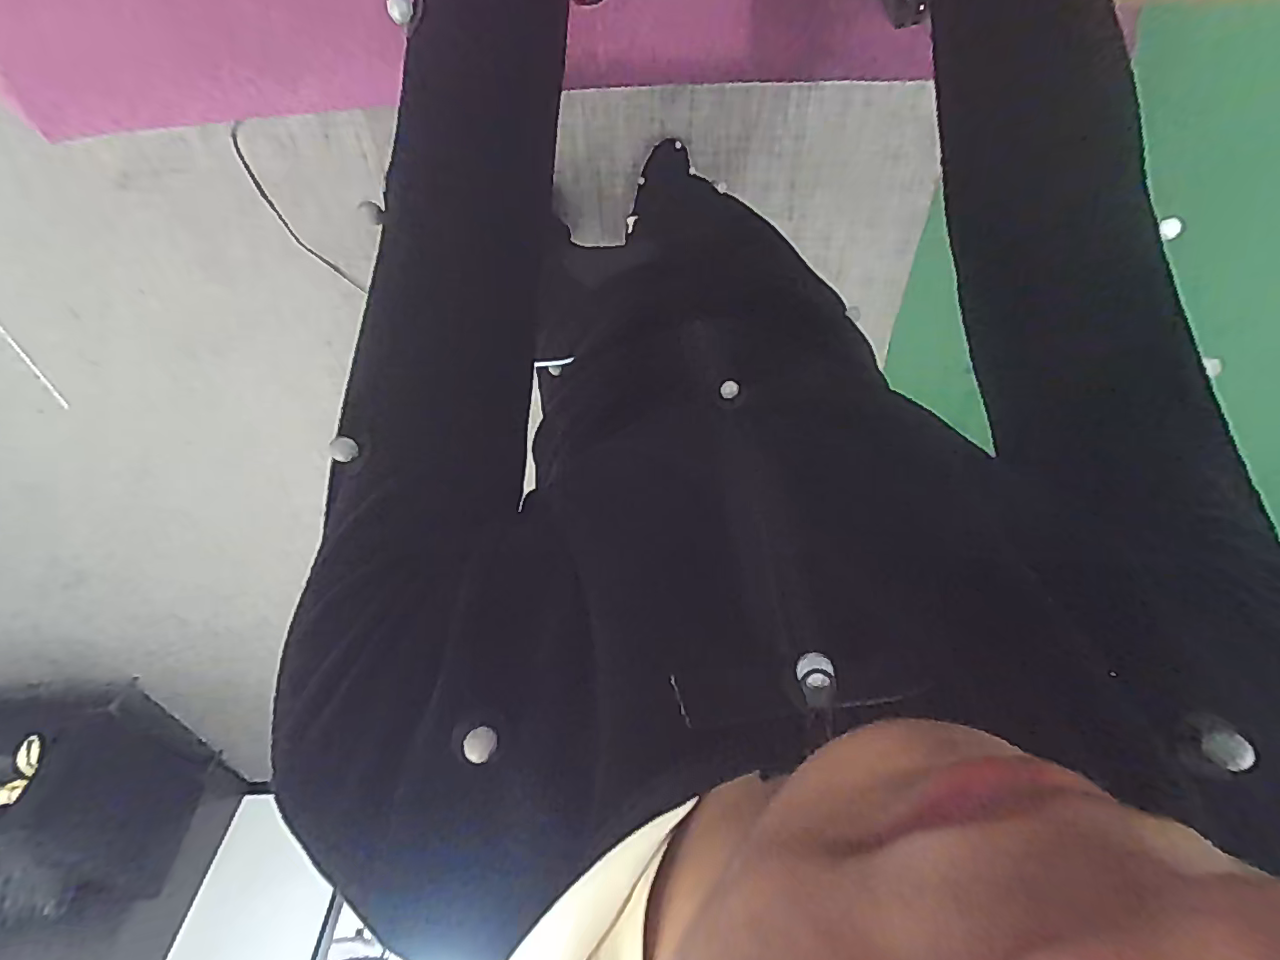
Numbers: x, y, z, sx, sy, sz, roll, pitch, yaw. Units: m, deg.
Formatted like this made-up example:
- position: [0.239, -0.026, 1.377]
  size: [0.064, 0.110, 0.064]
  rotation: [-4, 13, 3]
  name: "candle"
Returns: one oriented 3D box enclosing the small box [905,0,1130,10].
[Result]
- position: [0.351, -0.504, 0.446]
  size: [0.179, 0.176, 0.168]
  rotation: [1, 129, -2]
  name: "small box"
